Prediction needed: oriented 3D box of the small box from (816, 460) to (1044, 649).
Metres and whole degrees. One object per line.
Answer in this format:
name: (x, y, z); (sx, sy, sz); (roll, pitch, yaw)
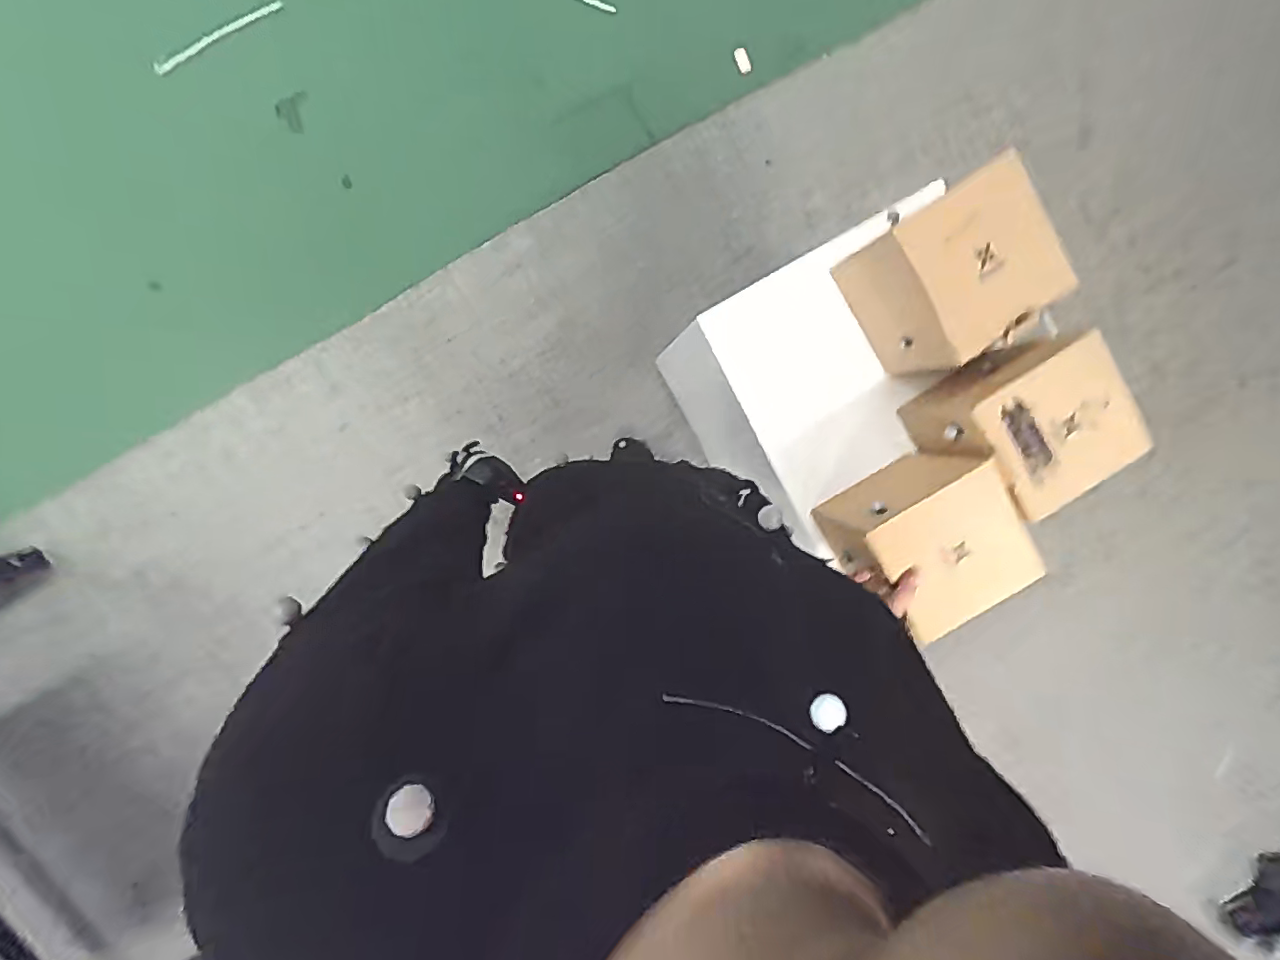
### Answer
small box: (0.370, 0.084, 0.720); (0.179, 0.176, 0.168); (-30, 97, -1)

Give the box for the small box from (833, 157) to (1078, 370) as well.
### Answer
small box: (0.382, -0.253, 0.685); (0.168, 0.176, 0.179); (-34, 98, -1)
